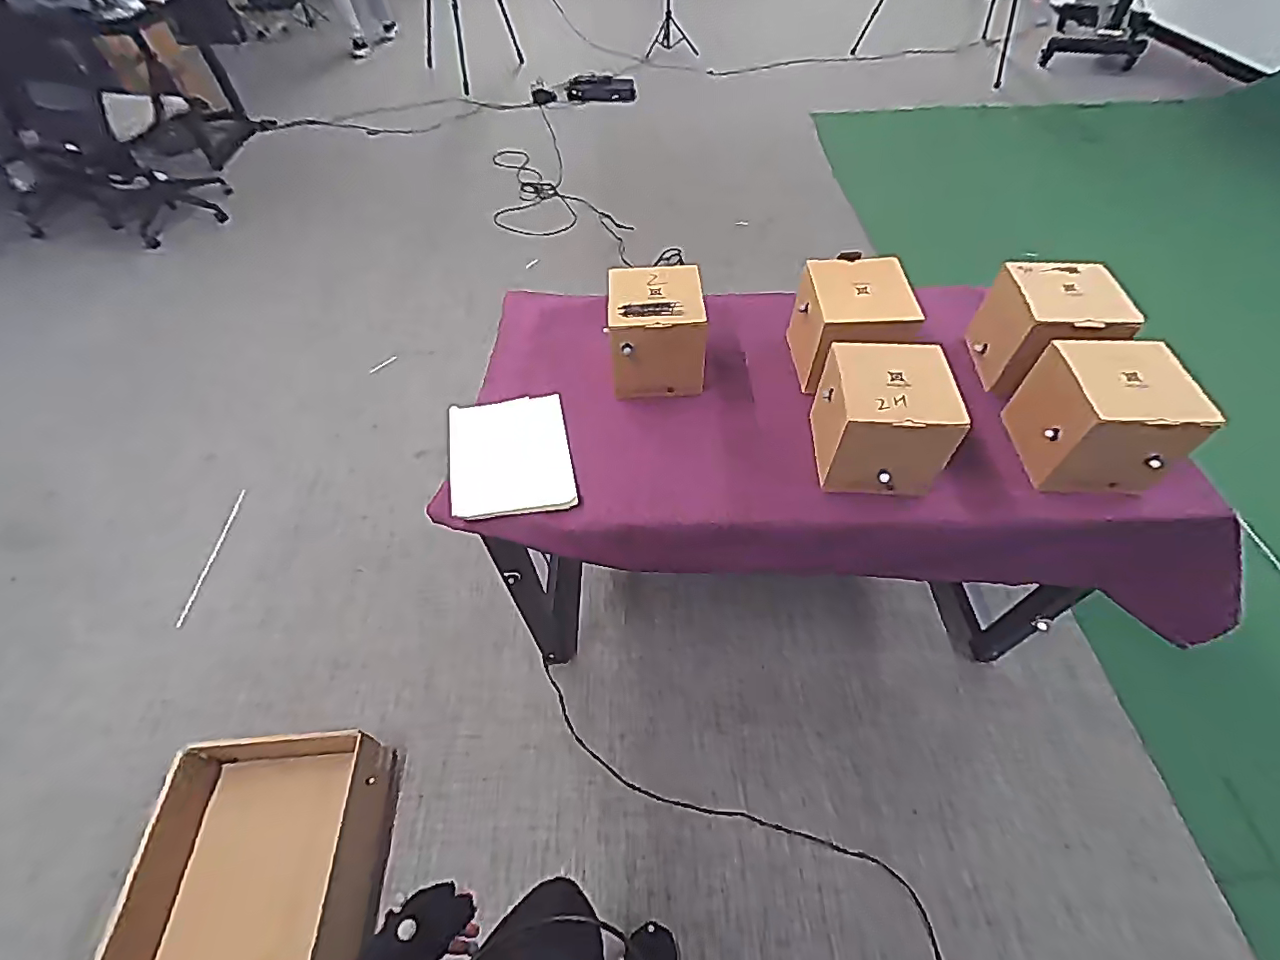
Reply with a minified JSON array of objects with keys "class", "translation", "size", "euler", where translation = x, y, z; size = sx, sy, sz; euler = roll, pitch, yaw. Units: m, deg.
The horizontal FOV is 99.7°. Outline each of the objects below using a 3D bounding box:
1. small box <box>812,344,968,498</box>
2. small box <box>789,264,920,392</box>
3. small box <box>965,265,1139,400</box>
[{"class":"small box","translation":[0.378,-0.093,0.859],"size":[0.168,0.176,0.179],"euler":[3,53,5]},{"class":"small box","translation":[0.383,-0.273,0.999],"size":[0.168,0.176,0.179],"euler":[-2,52,1]},{"class":"small box","translation":[0.722,-0.262,0.974],"size":[0.168,0.176,0.179],"euler":[4,54,5]}]
